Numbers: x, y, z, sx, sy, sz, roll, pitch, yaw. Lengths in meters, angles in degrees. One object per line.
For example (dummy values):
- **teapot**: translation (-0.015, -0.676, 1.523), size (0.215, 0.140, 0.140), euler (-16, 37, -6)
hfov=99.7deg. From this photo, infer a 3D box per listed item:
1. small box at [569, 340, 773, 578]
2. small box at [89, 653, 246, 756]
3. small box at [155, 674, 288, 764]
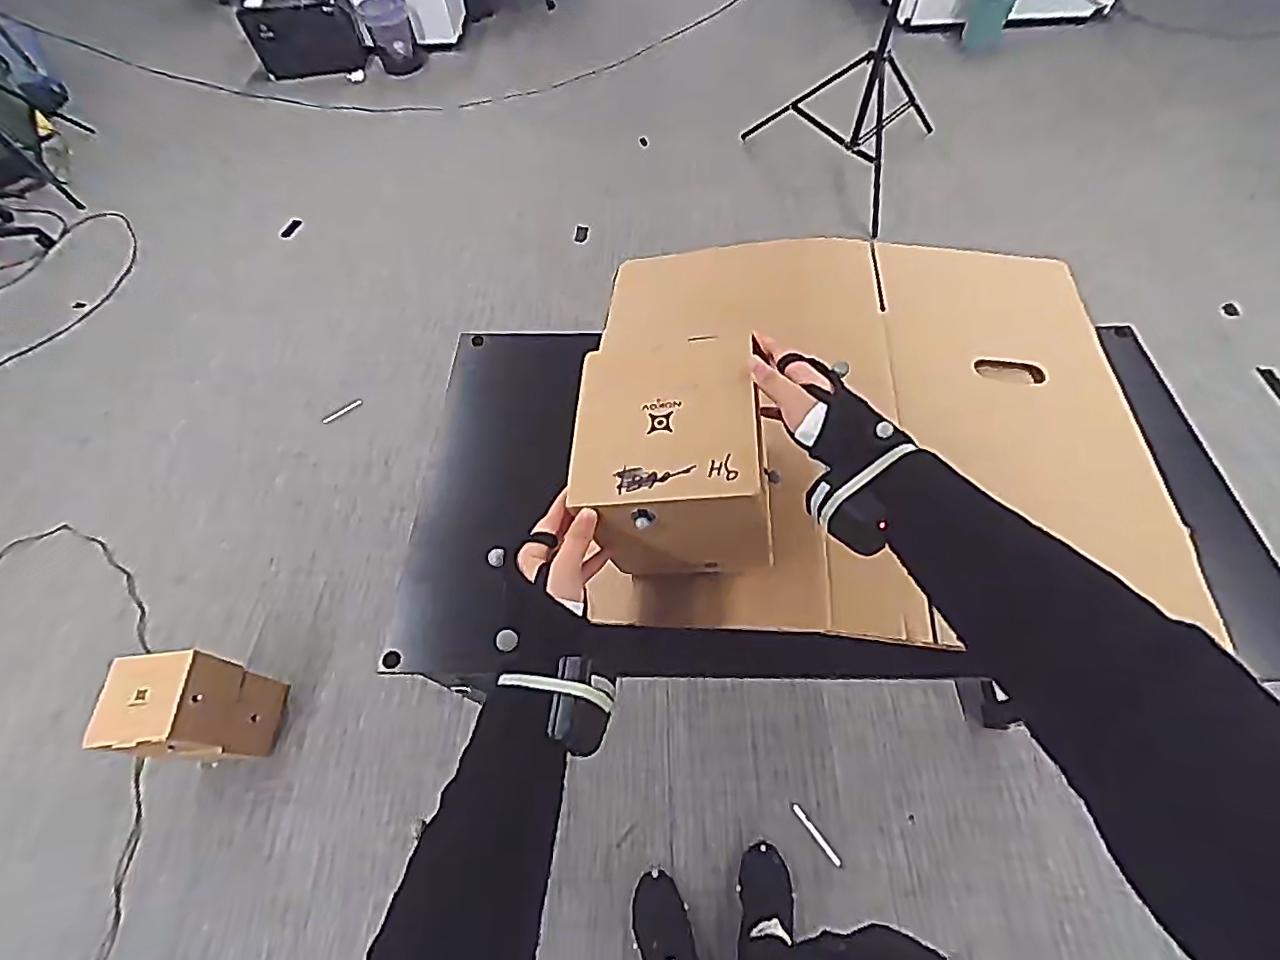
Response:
- **small box**: translation (0.044, -0.012, 0.553), size (0.168, 0.176, 0.179), euler (-5, 58, 16)
- **small box**: translation (-0.993, 0.487, 1.158), size (0.168, 0.176, 0.179), euler (-6, 58, -2)
- **small box**: translation (-0.985, 0.575, 1.294), size (0.168, 0.176, 0.179), euler (-4, 60, 0)
